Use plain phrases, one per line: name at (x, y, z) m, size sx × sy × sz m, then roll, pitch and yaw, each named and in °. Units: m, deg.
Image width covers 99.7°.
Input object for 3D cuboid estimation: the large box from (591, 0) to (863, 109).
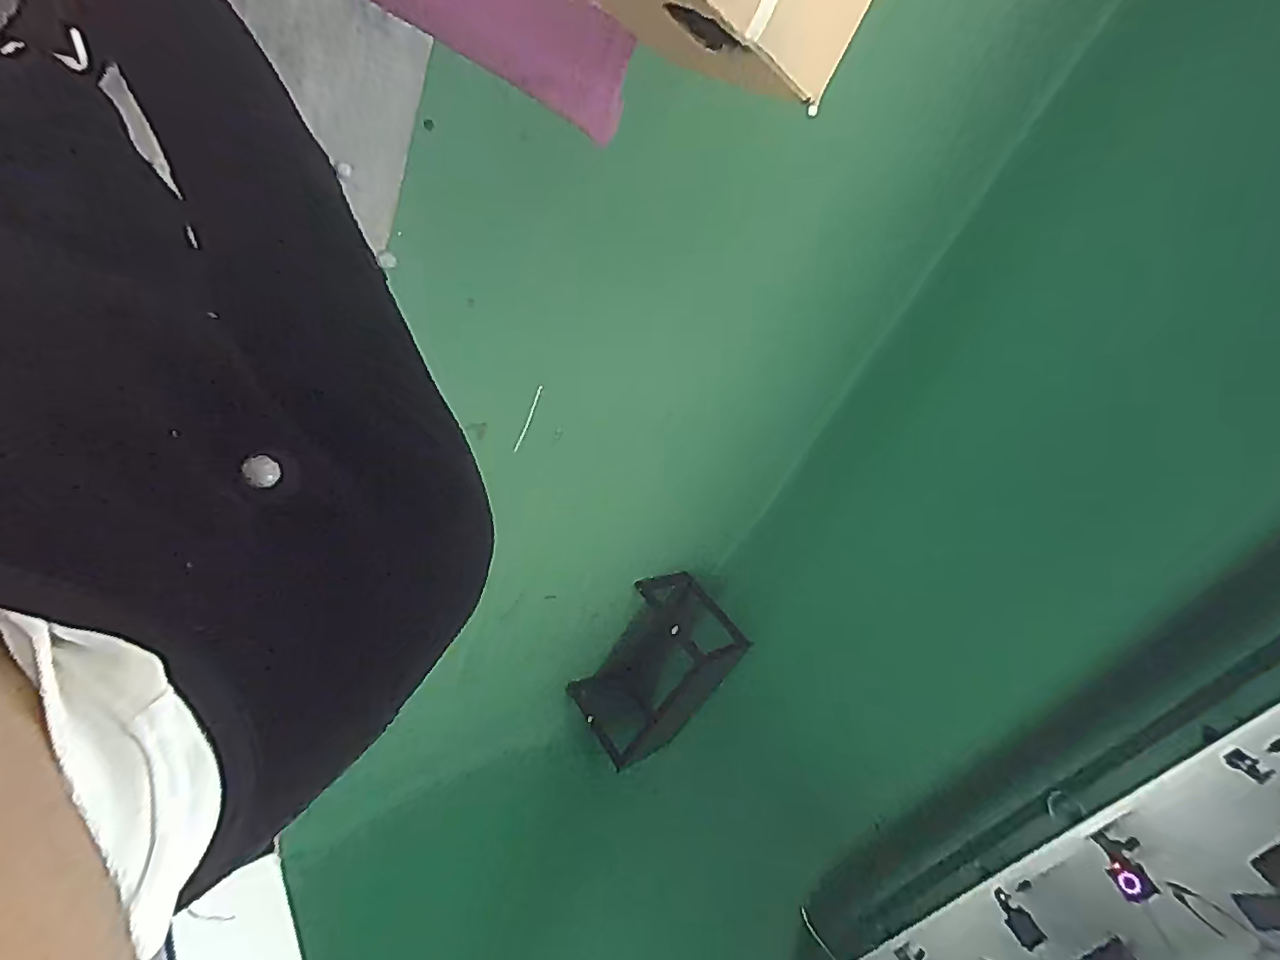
large box at (0.101, -0.704, 0.553) m, size 0.320 × 0.320 × 0.408 m, roll -2°, pitch 130°, yaw -45°
